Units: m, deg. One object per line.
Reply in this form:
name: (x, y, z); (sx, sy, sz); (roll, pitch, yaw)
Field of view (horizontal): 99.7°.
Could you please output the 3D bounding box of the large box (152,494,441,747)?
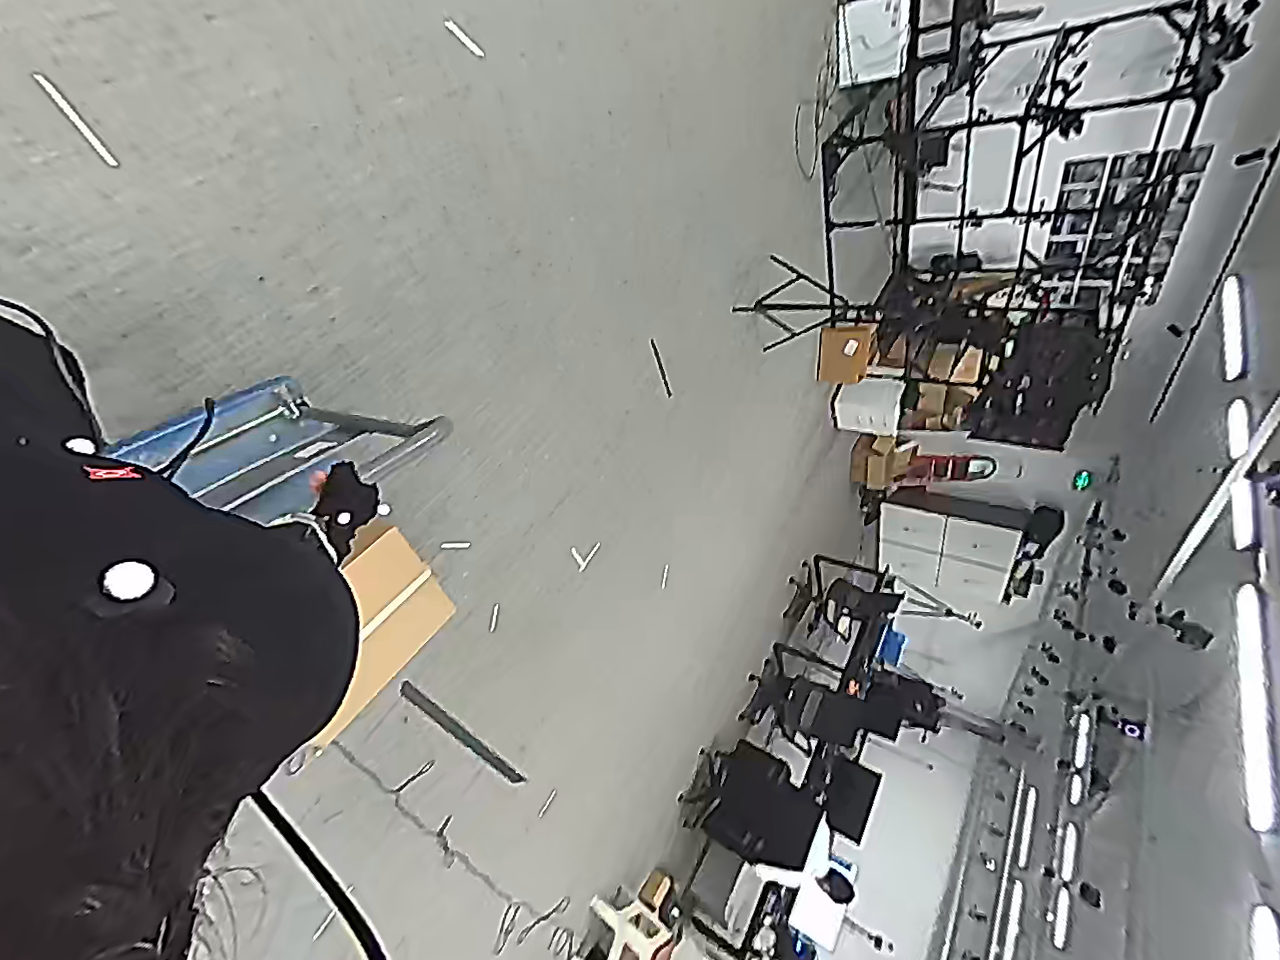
large box: (-0.759, 0.298, 1.243); (0.408, 0.320, 0.320); (-49, 138, -34)
